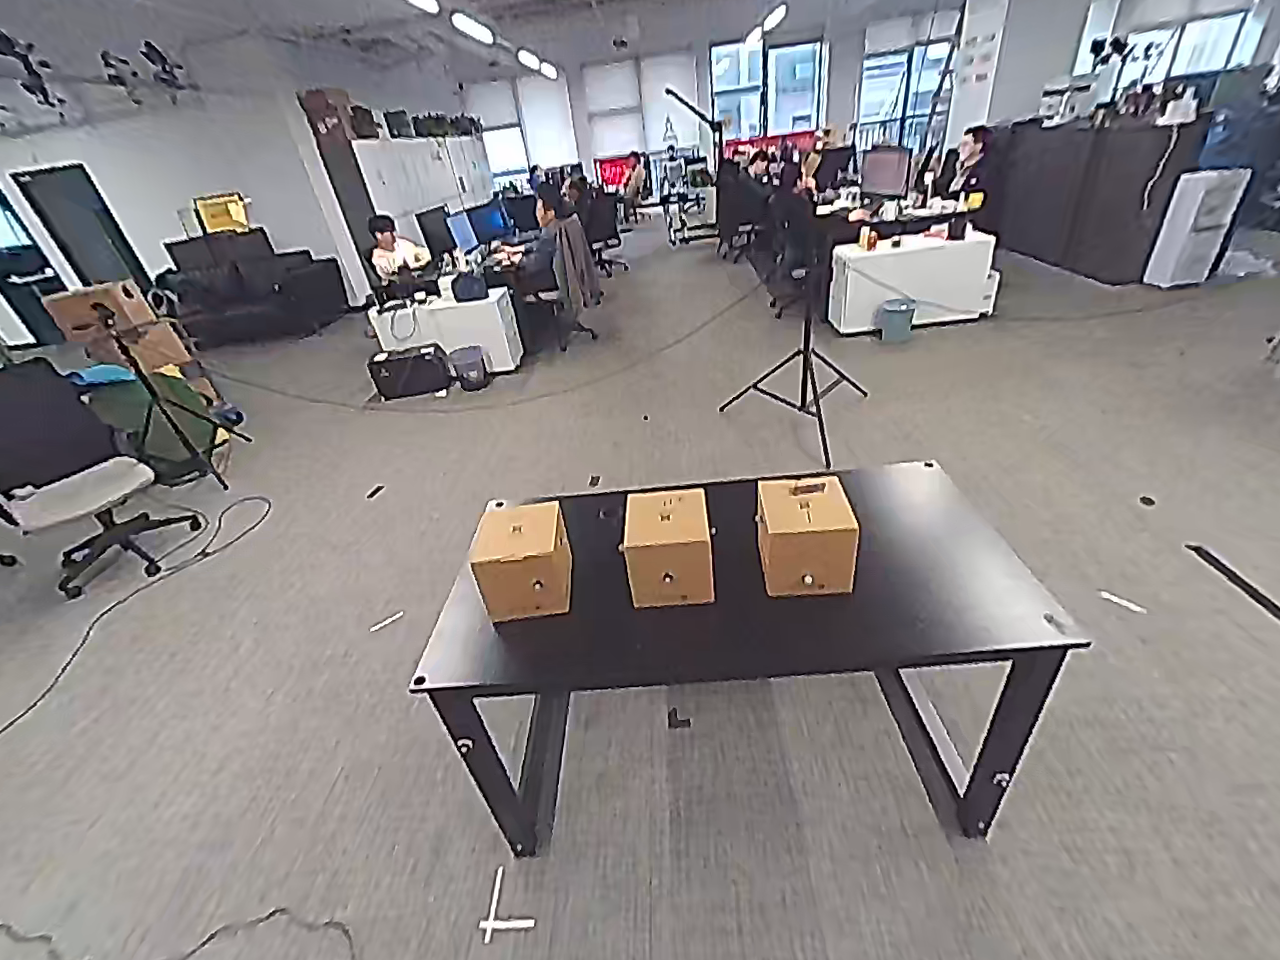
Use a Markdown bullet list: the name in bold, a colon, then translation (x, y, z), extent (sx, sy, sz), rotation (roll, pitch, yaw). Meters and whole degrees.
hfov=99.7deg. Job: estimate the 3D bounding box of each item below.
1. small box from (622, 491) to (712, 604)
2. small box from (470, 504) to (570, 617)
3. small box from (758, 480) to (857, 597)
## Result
- **small box**: translation (0.060, 0.145, 1.132), extent (0.168, 0.176, 0.179), rotation (-5, 32, 5)
- **small box**: translation (-0.245, 0.177, 1.155), extent (0.168, 0.176, 0.179), rotation (-7, 31, 0)
- **small box**: translation (0.333, 0.119, 1.111), extent (0.168, 0.176, 0.179), rotation (-4, 33, 7)
